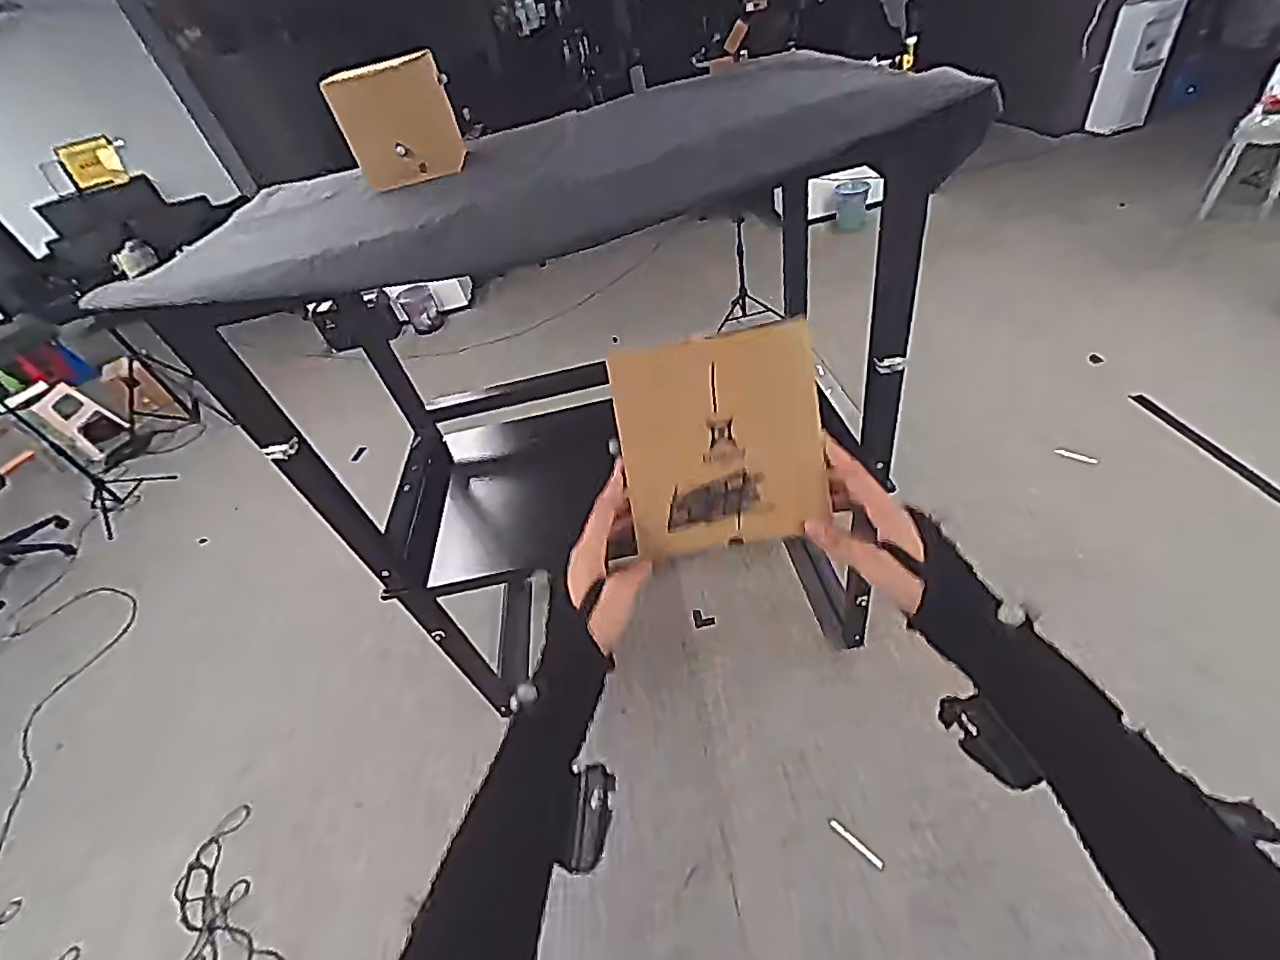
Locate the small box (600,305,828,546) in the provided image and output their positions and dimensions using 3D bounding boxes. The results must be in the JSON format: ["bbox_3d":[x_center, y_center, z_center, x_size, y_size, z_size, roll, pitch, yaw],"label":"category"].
[{"bbox_3d":[0.064,-0.052,0.512,0.168,0.179,0.176,-9,7,2],"label":"small box"}]

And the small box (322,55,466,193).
[{"bbox_3d":[-0.430,-0.643,0.981,0.168,0.176,0.179,-15,43,1],"label":"small box"}]
